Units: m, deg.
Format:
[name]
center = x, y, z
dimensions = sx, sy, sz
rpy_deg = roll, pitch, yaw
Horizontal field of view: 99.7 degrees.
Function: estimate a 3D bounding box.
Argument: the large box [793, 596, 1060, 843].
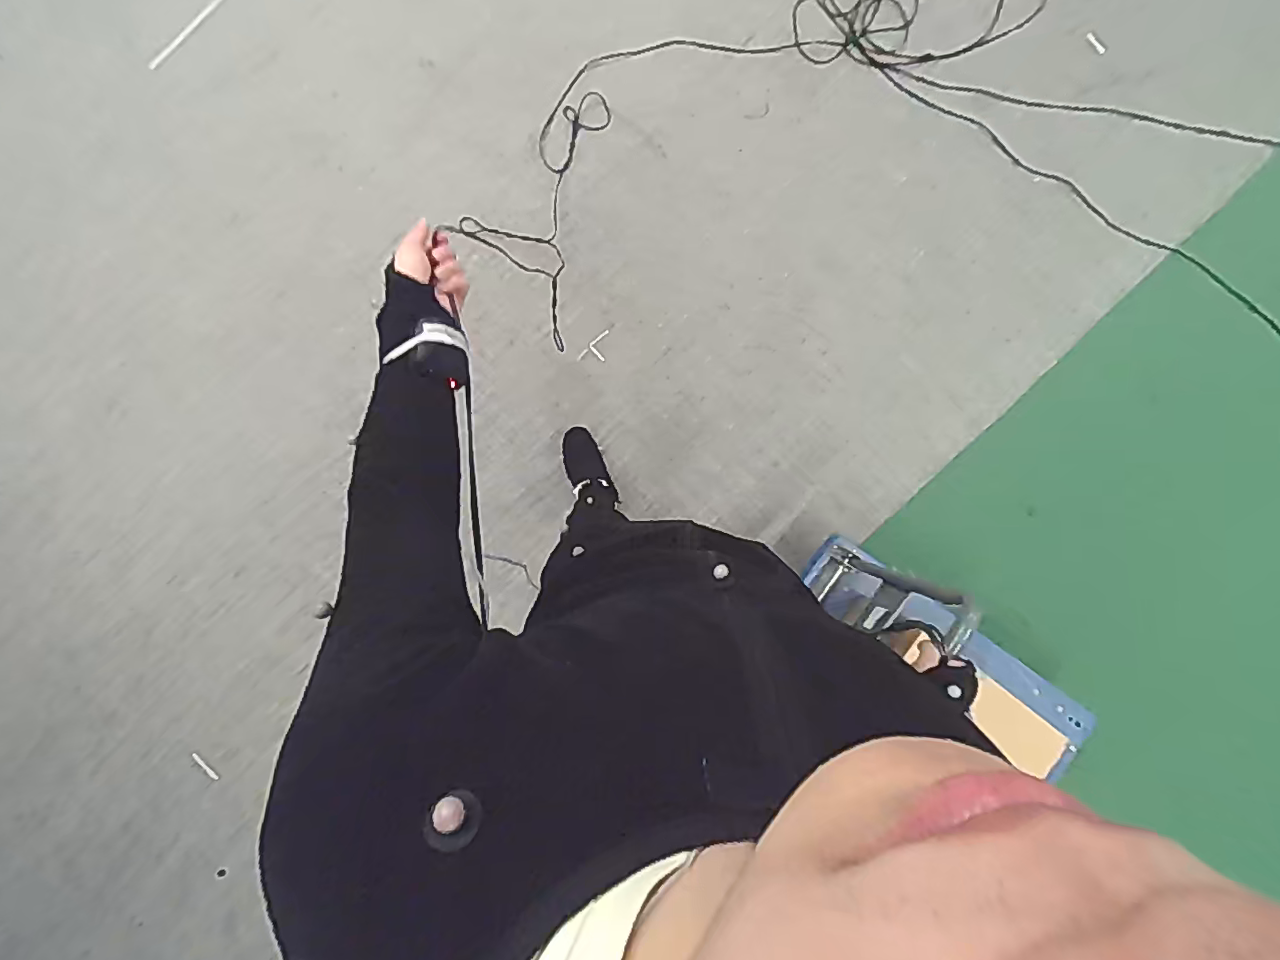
[large box]
center = 0.657, 0.544, 1.309
dimensions = 0.408, 0.320, 0.320
rpy_deg = 38, 90, -1
